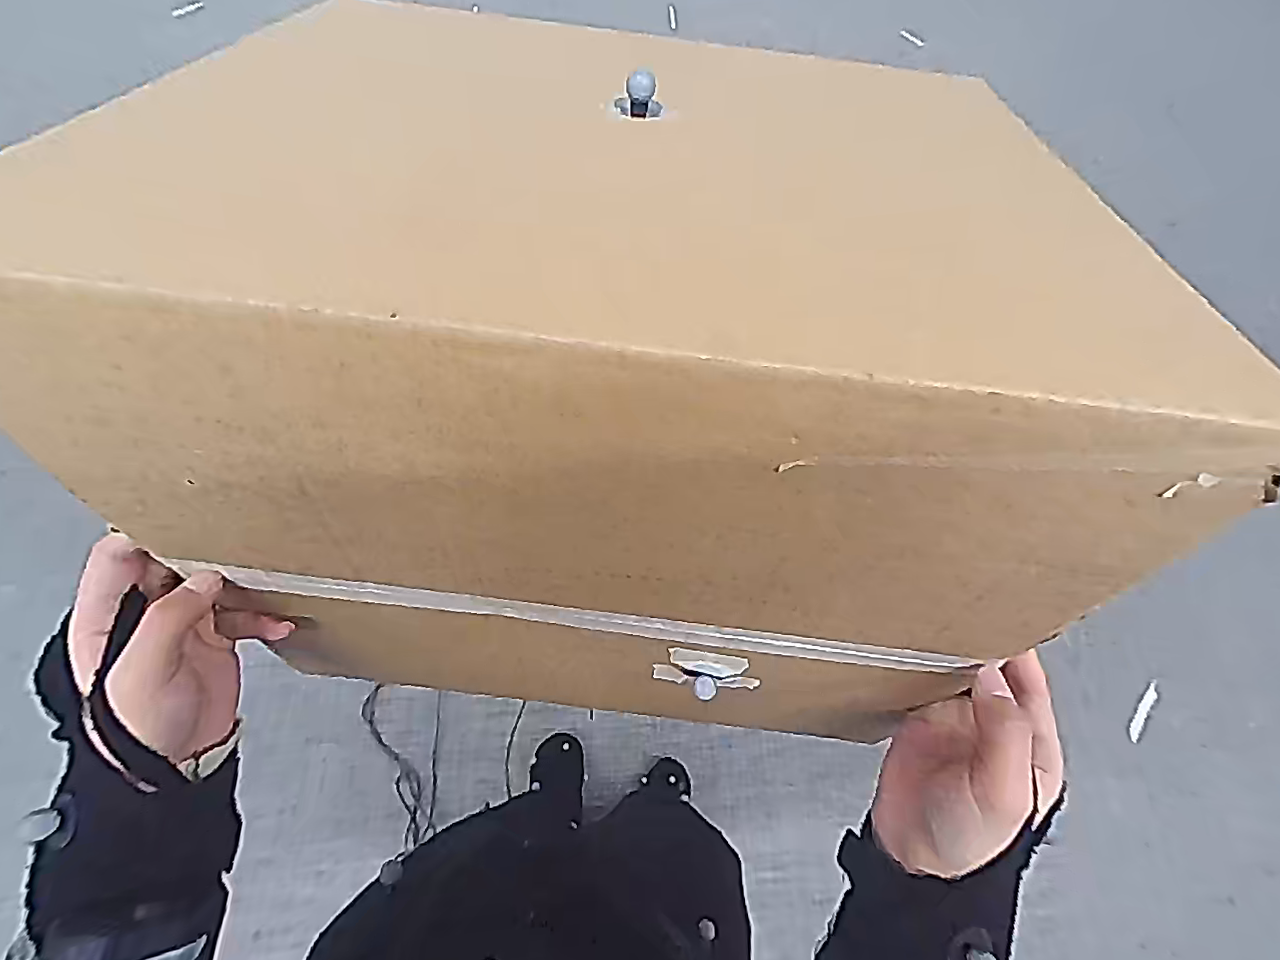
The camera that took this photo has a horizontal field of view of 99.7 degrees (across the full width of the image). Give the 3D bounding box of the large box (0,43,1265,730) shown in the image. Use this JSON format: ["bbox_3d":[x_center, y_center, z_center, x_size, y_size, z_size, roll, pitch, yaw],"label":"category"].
[{"bbox_3d":[-0.018,-0.053,0.363,0.408,0.320,0.320,6,52,0],"label":"large box"}]
